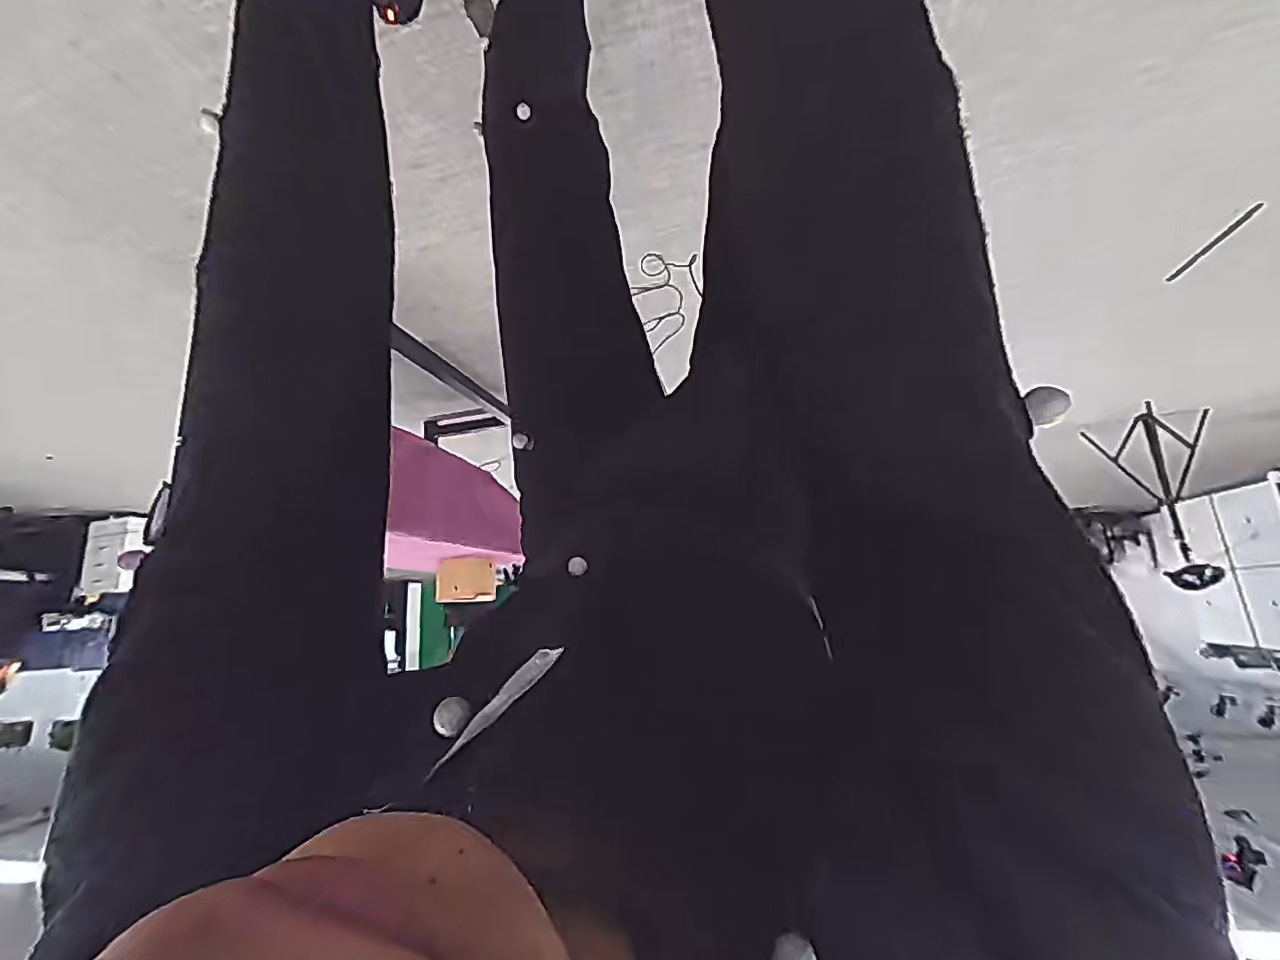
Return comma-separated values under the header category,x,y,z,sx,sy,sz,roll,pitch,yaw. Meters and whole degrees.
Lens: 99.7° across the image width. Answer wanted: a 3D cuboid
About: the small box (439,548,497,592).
category,x,y,z,sx,sy,sz,roll,pitch,yaw
small box,-0.722,0.378,2.268,0.179,0.176,0.168,-8,166,21
